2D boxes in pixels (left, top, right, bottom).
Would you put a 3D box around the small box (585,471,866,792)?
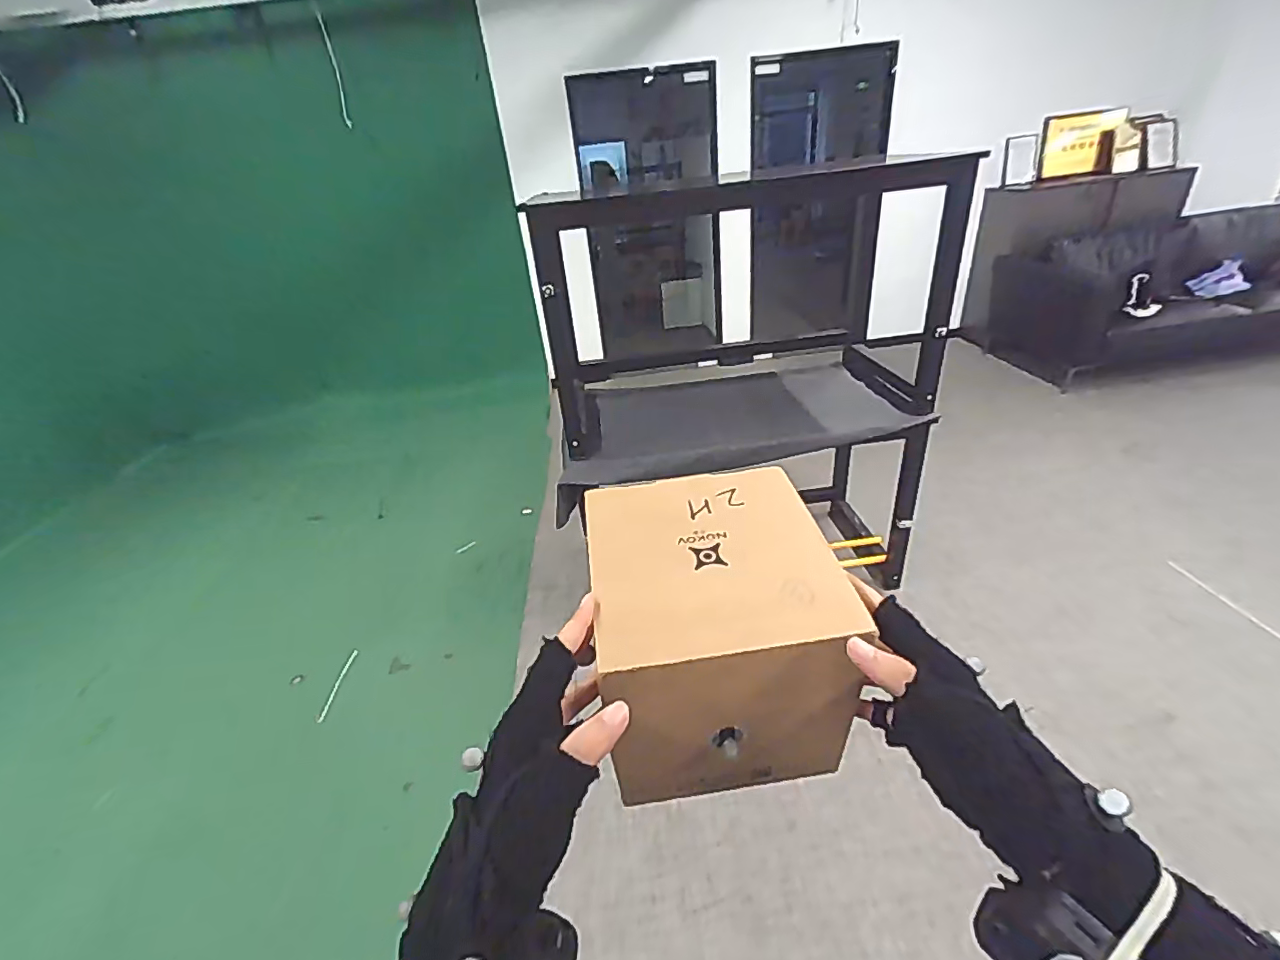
[{"bbox_3d":[0.051,0.118,0.423,0.168,0.176,0.179,-7,35,-3],"label":"small box"}]
